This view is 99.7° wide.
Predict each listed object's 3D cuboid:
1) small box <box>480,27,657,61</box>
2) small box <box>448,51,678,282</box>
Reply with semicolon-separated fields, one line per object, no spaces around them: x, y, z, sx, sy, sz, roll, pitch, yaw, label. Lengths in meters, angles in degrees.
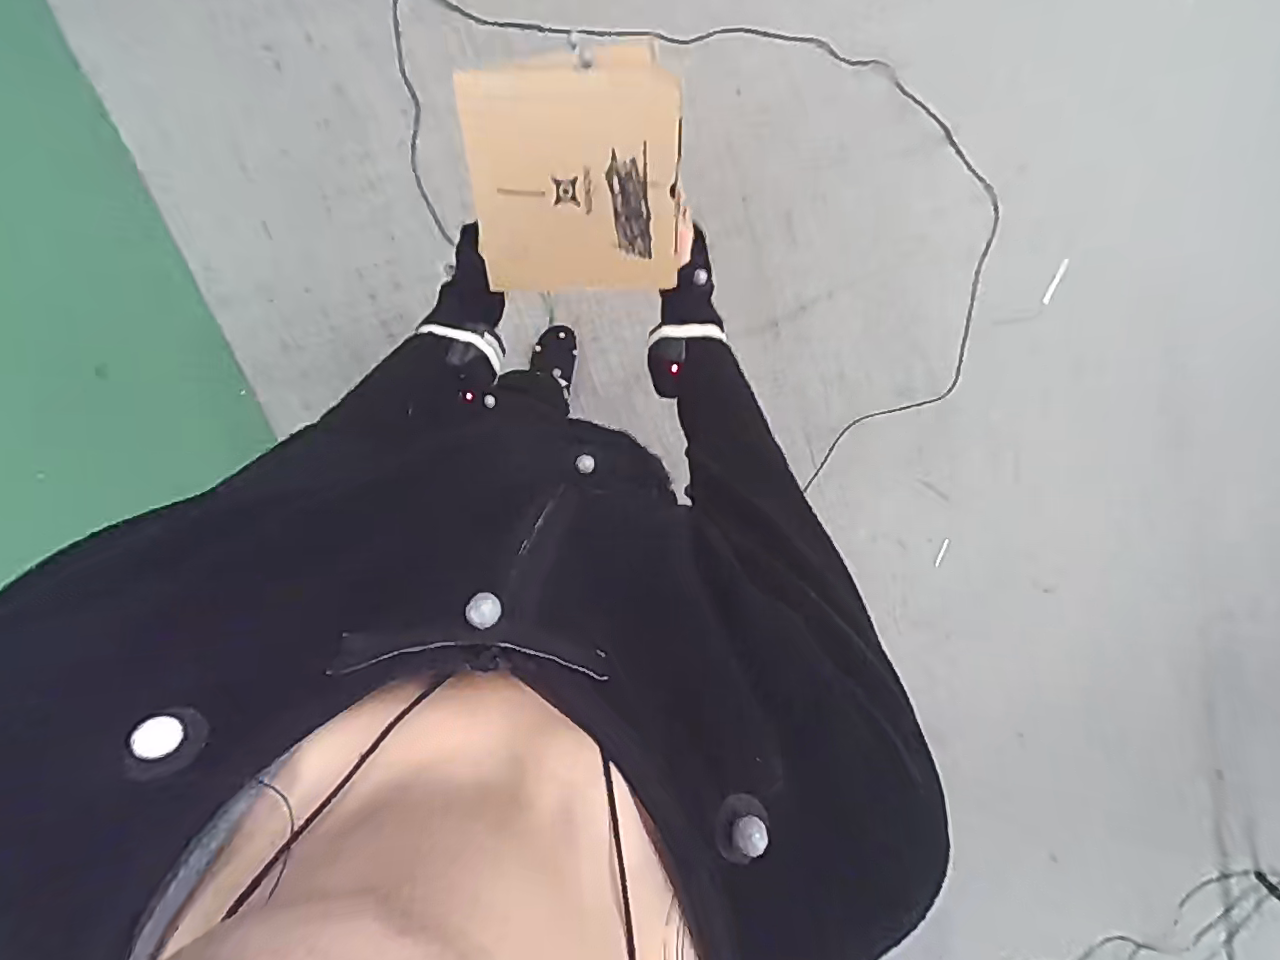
-0.067;-0.415;0.635;0.179;0.176;0.168;-6;130;3;small box
-0.060;-0.301;0.515;0.179;0.176;0.168;-1;130;0;small box
